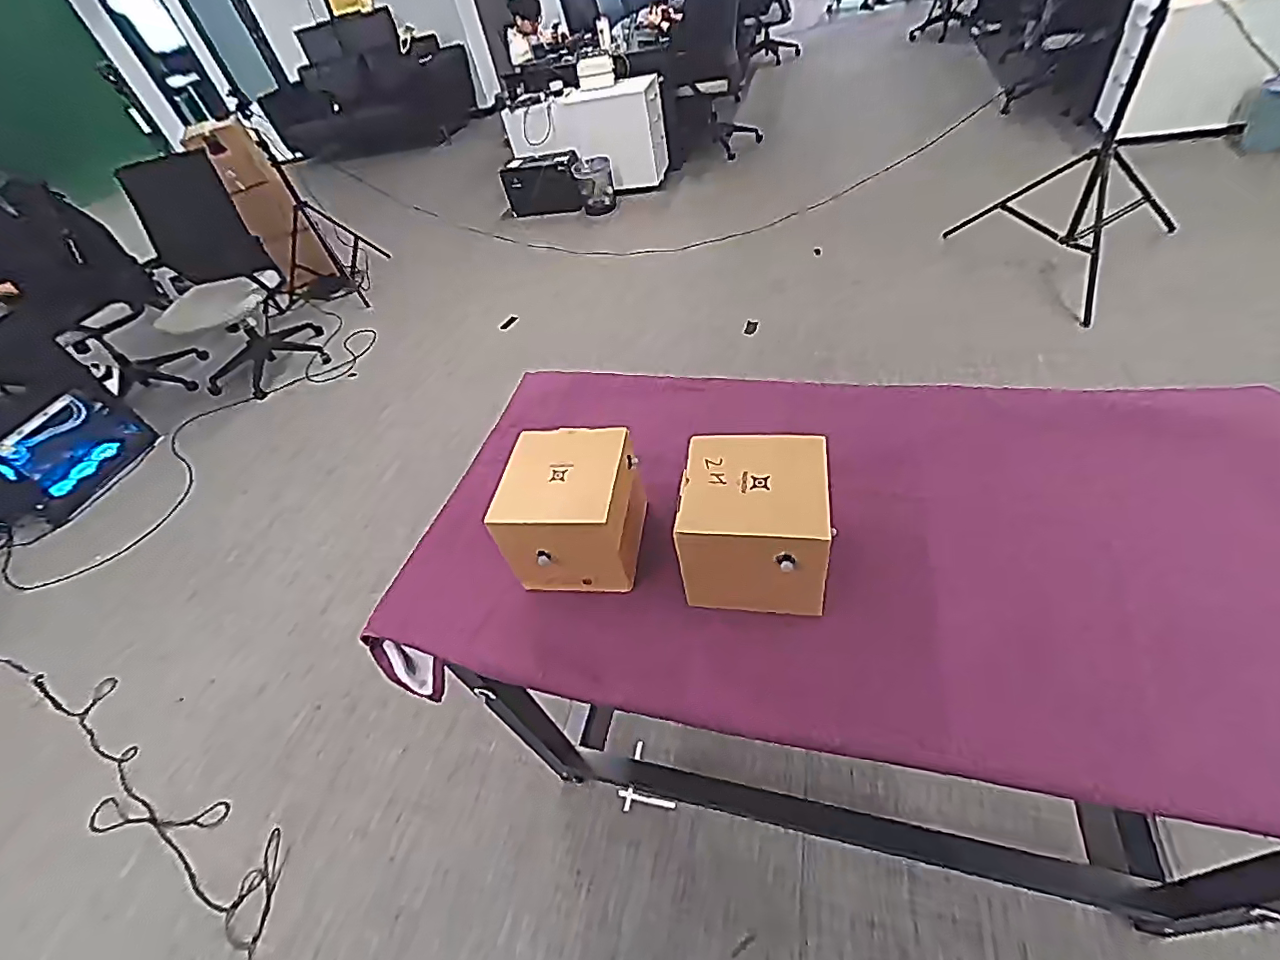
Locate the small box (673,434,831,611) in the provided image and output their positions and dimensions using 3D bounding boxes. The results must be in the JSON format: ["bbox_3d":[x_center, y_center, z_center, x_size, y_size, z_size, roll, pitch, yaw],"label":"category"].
[{"bbox_3d":[0.149,0.057,0.712,0.179,0.176,0.168,1,47,14],"label":"small box"}]

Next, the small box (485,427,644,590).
[{"bbox_3d":[-0.095,0.045,0.788,0.168,0.176,0.179,-1,47,13],"label":"small box"}]
